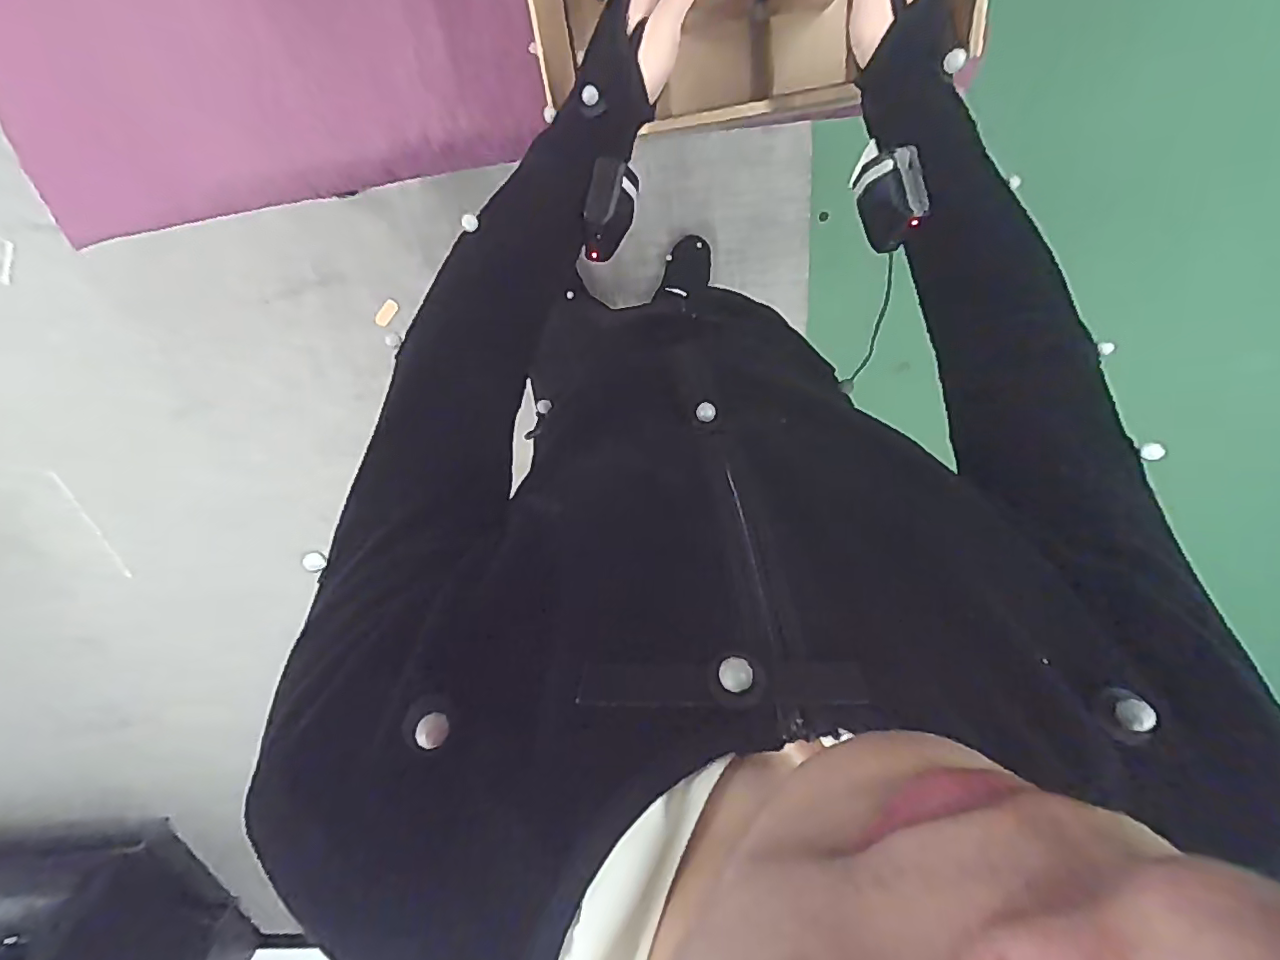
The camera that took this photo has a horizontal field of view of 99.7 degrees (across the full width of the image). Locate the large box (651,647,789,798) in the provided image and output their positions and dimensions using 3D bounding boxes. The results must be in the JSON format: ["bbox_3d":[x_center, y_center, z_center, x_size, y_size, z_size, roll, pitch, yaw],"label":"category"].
[{"bbox_3d":[0.290,0.921,2.060,0.408,0.320,0.320,-37,111,19],"label":"large box"}]
